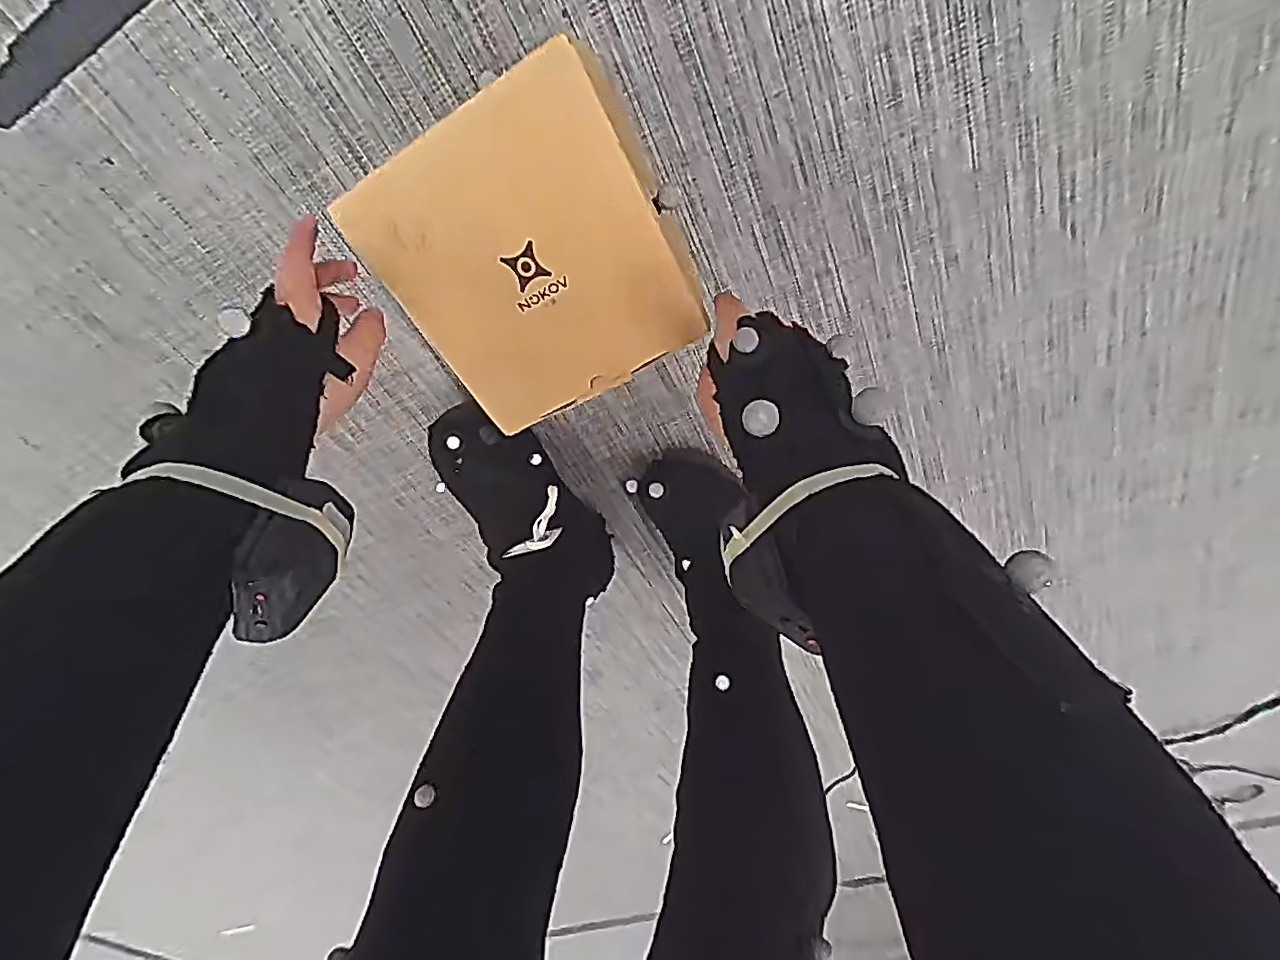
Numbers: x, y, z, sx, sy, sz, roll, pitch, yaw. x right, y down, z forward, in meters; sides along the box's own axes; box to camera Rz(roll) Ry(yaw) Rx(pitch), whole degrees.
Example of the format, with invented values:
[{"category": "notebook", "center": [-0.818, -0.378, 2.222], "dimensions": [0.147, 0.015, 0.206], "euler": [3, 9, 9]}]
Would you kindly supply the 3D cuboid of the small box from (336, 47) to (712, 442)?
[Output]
[{"category": "small box", "center": [-0.065, -0.165, 0.394], "dimensions": [0.168, 0.176, 0.179], "euler": [-24, 123, 16]}]
